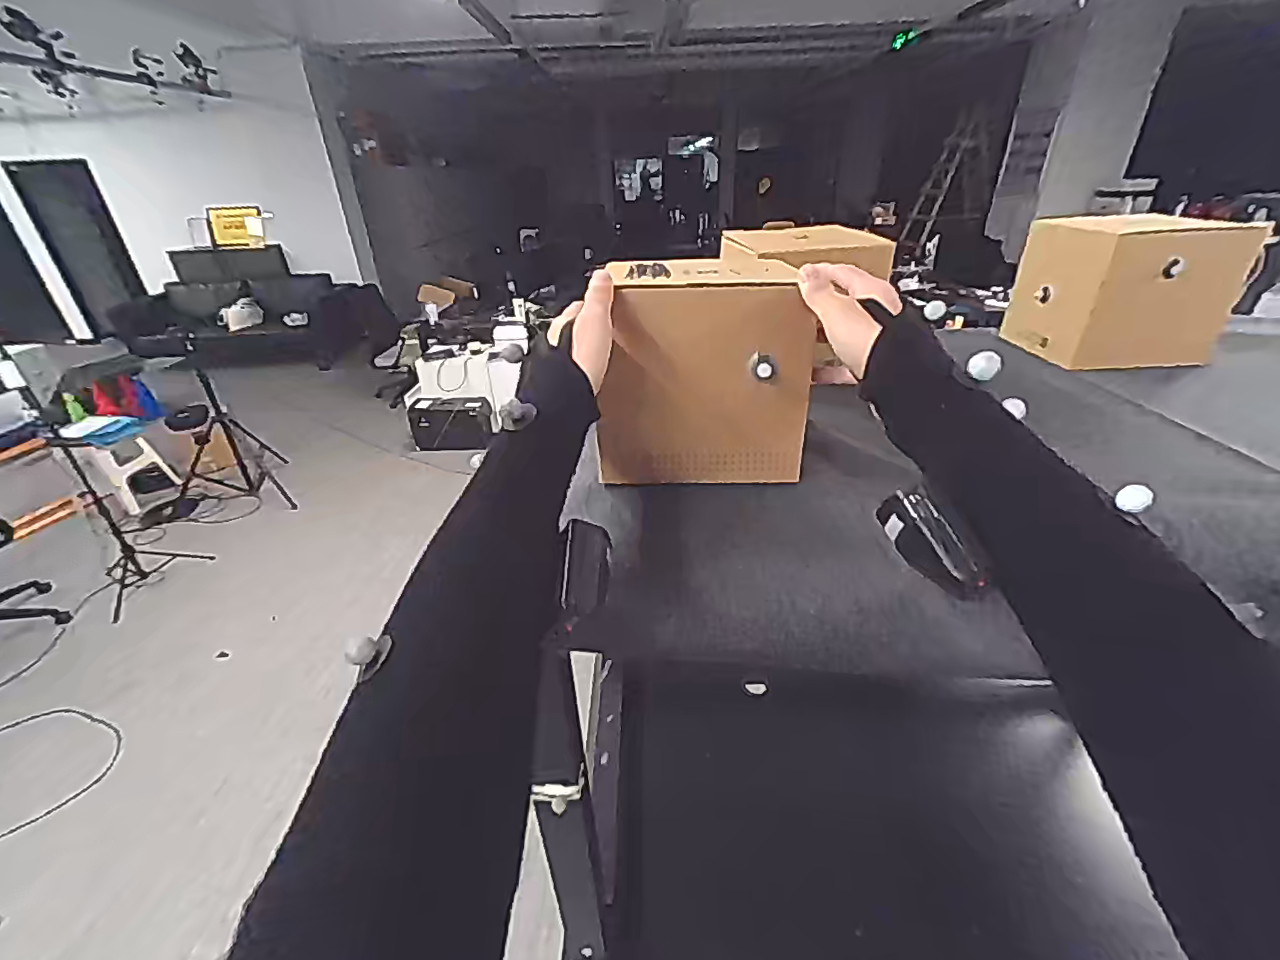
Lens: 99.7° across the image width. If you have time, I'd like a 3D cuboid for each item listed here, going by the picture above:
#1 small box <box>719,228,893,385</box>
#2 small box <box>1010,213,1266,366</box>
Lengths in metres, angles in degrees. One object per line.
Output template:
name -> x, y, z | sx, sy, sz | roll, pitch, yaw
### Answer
small box -> 0.204, -0.235, 0.722 | 0.168, 0.176, 0.179 | -6, 30, -3
small box -> 0.637, -0.257, 0.727 | 0.179, 0.176, 0.168 | -1, 30, 2
